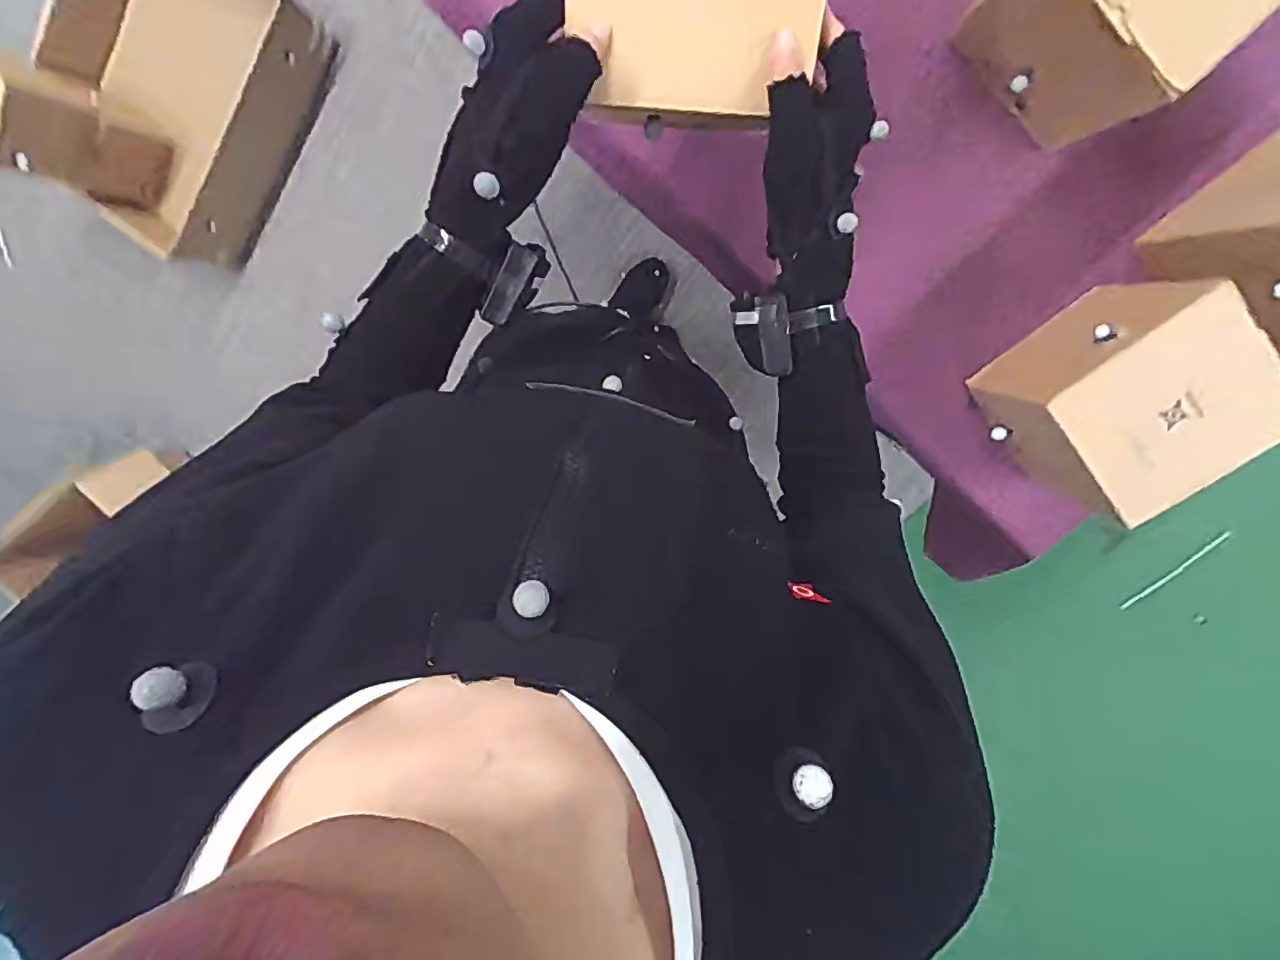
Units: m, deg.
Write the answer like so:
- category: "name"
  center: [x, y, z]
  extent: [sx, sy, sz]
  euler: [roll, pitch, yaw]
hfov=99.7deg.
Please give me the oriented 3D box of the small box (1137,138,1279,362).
- category: "small box"
  center: [0.663, -0.233, 0.525]
  extent: [0.179, 0.176, 0.168]
  euler: [-40, 101, 15]

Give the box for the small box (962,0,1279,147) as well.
- category: "small box"
  center: [0.433, -0.438, 0.471]
  extent: [0.168, 0.176, 0.179]
  euler: [42, 107, -10]
